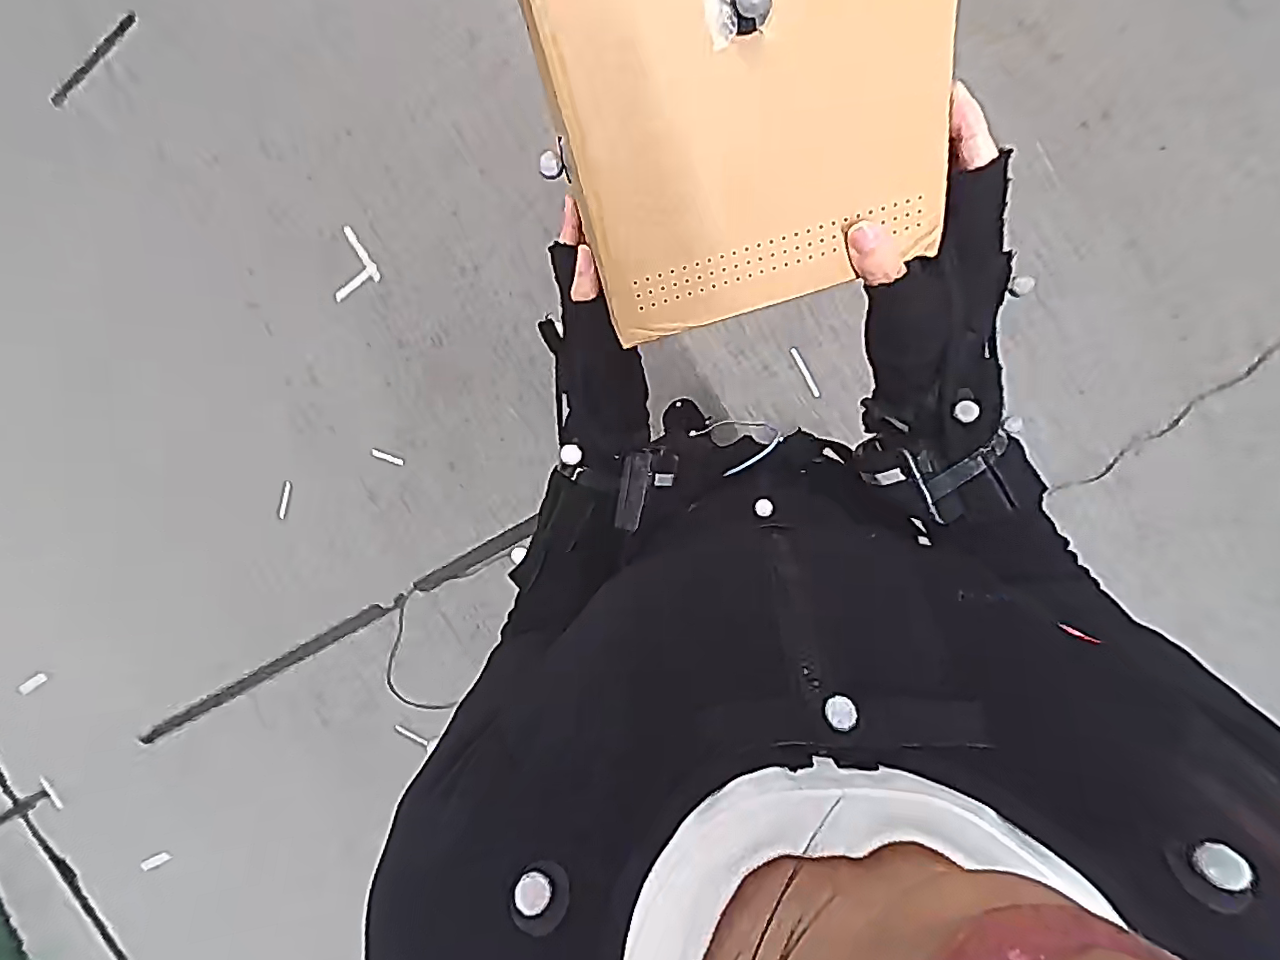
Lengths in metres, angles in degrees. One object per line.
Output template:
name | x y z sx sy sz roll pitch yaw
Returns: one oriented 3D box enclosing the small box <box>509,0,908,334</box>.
small box | 0.039 -0.205 0.322 0.179 0.168 0.176 -17 123 1
